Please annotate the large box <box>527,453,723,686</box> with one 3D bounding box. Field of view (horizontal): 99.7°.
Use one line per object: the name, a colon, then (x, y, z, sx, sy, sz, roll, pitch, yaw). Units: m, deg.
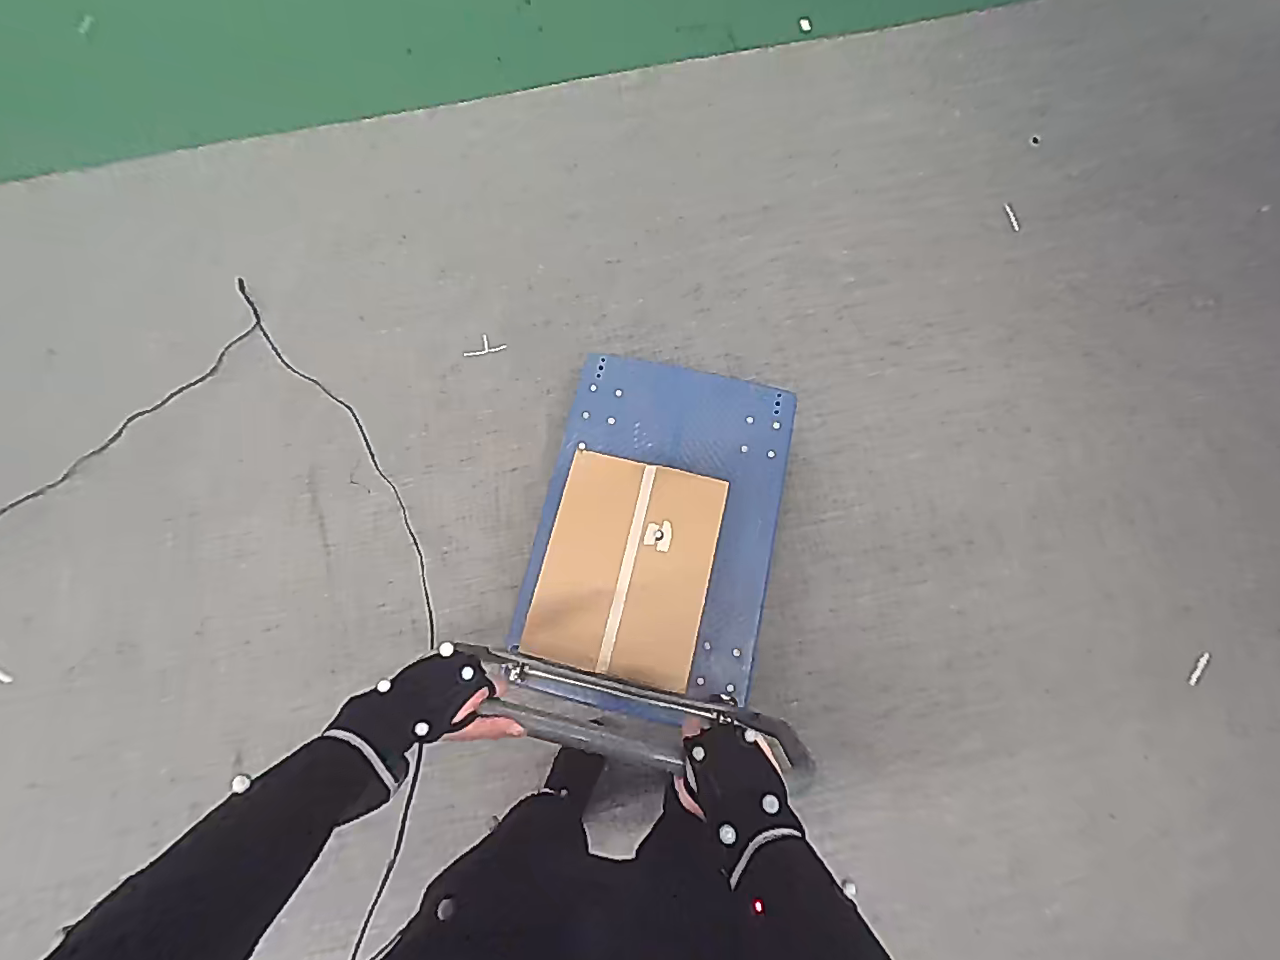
large box: (-0.018, 0.203, 1.183, 0.320, 0.320, 0.408, 13, 74, 4)
